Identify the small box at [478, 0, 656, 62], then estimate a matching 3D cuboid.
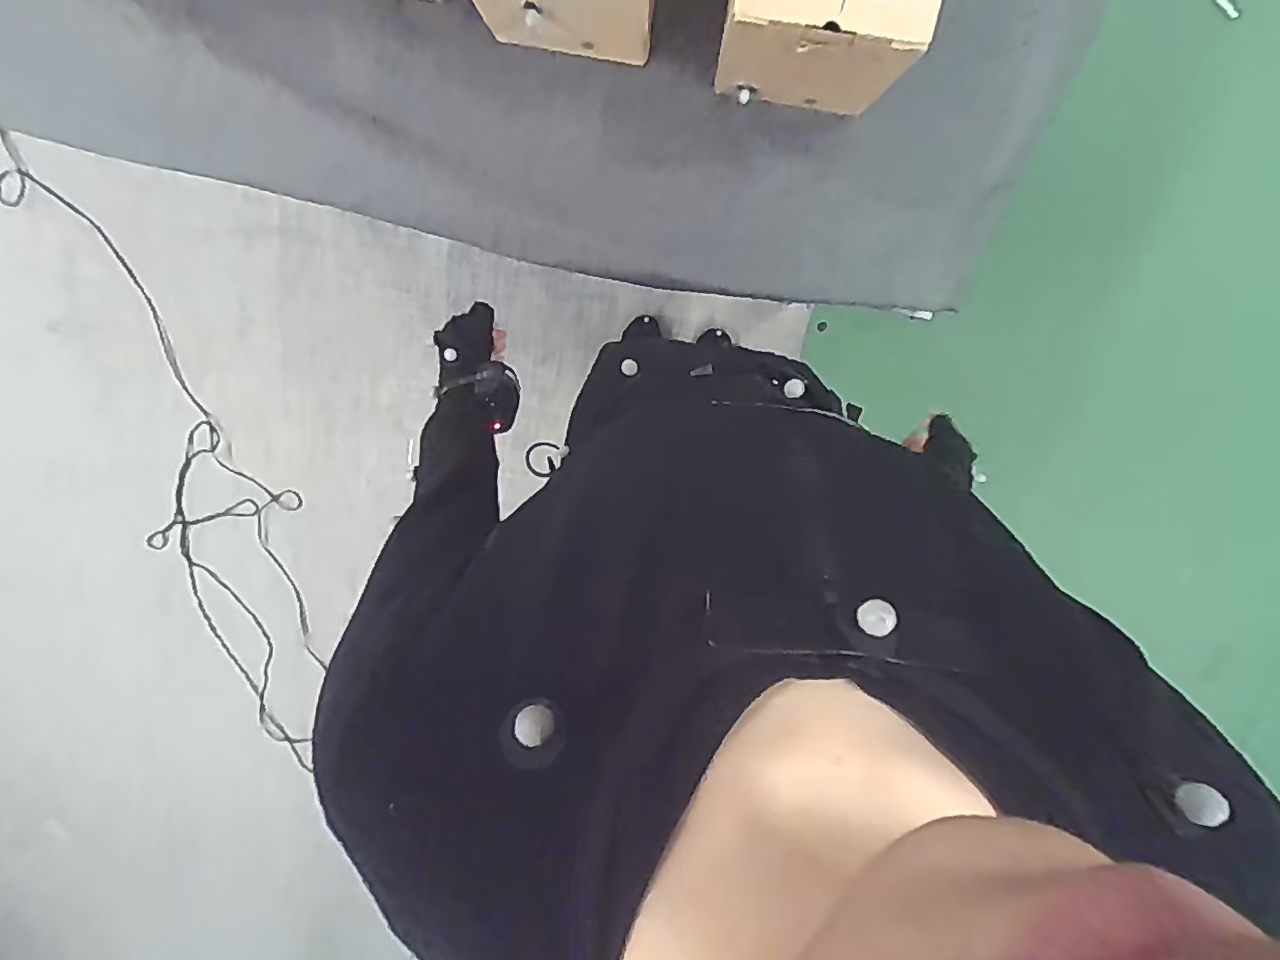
[{"bbox_3d":[-0.063,-0.515,0.482,0.168,0.176,0.179,9,108,-1],"label":"small box"}]
